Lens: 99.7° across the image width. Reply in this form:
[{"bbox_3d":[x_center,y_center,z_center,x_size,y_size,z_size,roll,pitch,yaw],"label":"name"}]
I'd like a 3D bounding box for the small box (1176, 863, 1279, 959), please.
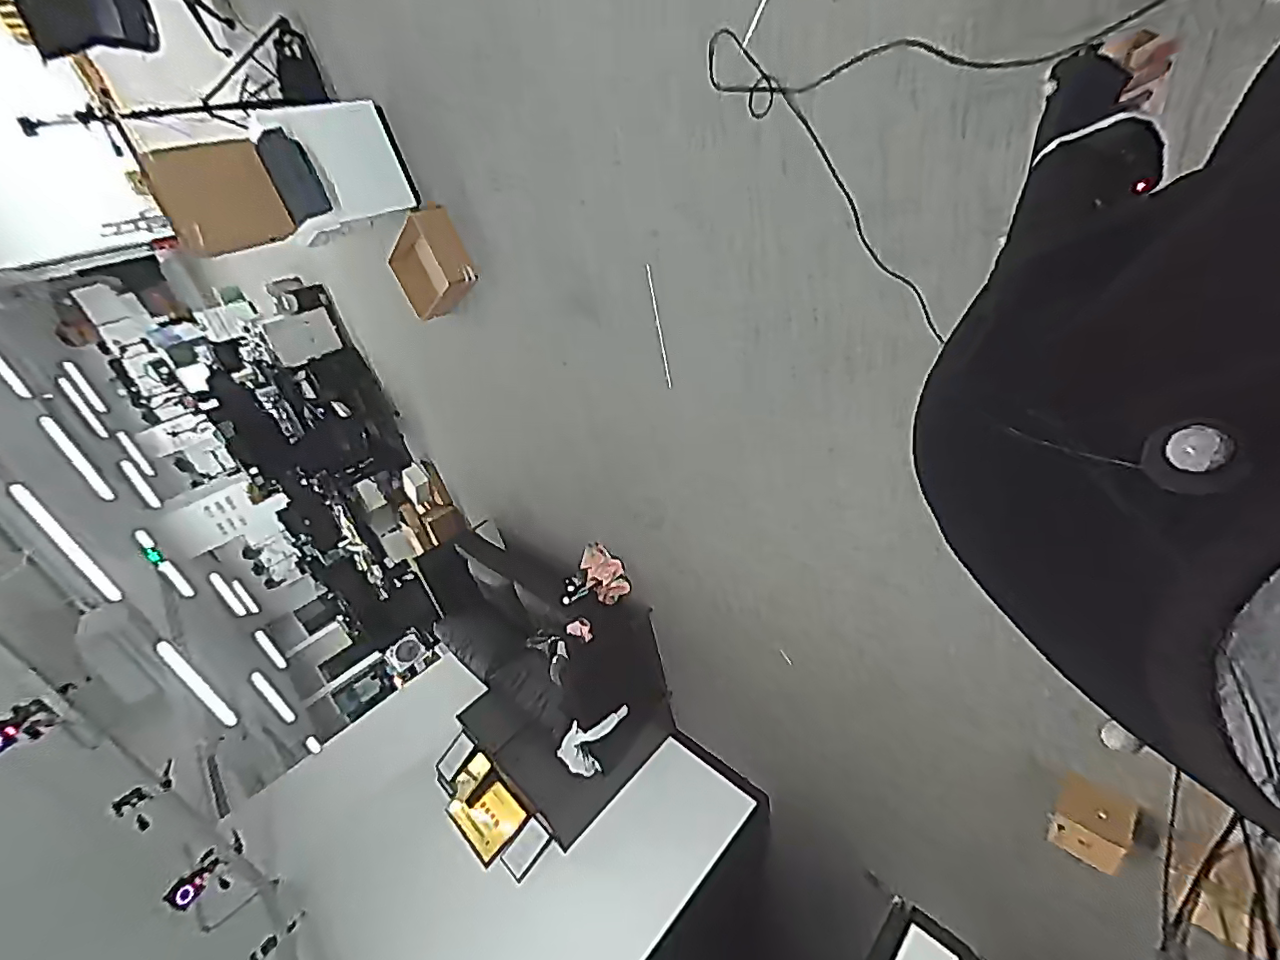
[{"bbox_3d":[1.621,1.200,1.482,0.179,0.176,0.168,15,128,45],"label":"small box"}]
